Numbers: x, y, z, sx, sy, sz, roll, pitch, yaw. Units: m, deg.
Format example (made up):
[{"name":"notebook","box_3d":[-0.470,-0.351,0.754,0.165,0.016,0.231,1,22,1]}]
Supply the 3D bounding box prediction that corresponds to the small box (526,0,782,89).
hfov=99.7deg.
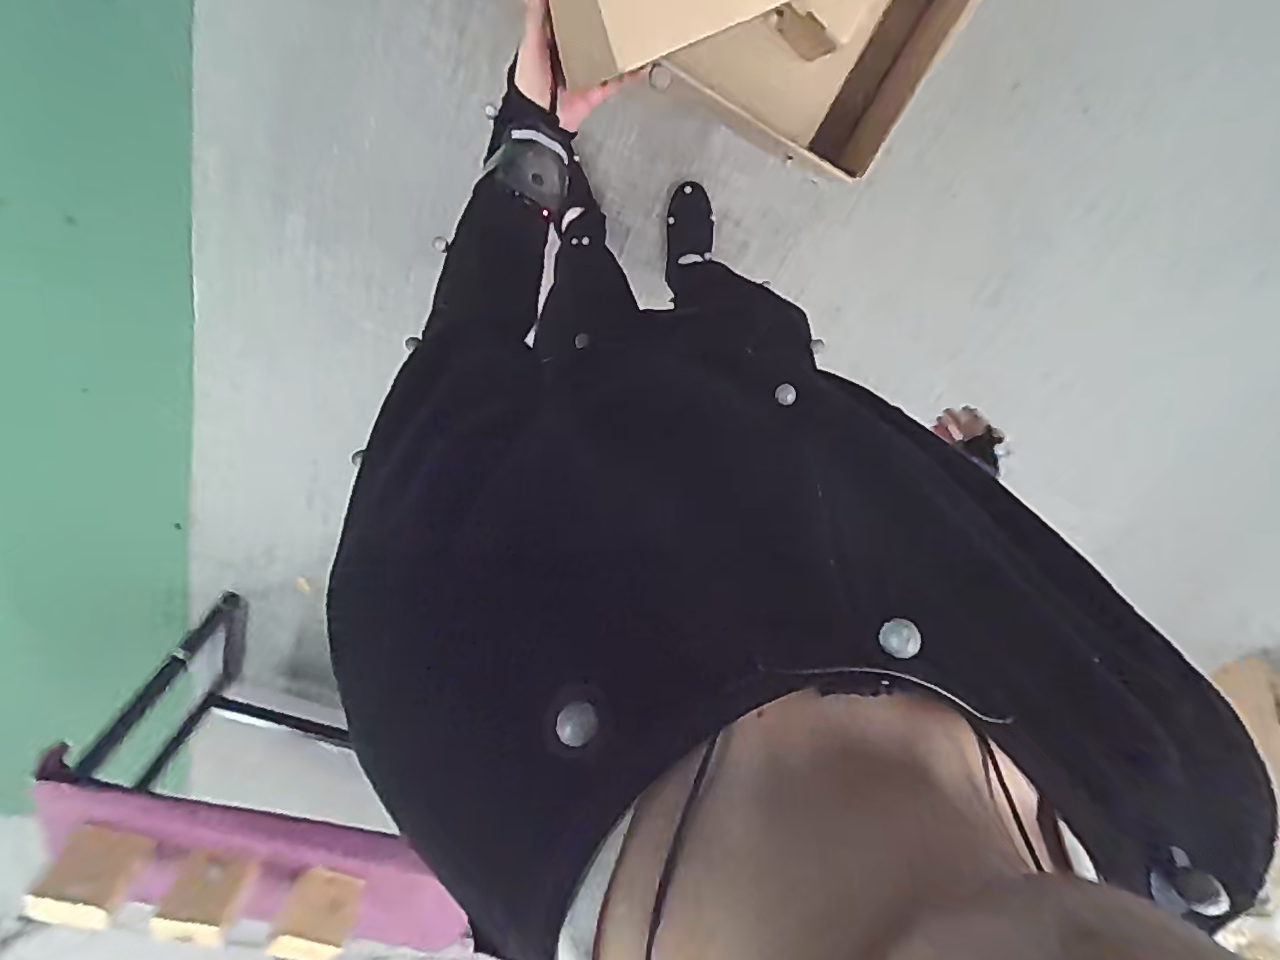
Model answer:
[{"name":"small box","box_3d":[0.002,-0.386,0.353,0.176,0.179,0.168,-25,127,-3]}]

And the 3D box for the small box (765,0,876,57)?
[{"name":"small box","box_3d":[0.232,-0.662,0.657,0.168,0.176,0.179,33,118,-18]}]

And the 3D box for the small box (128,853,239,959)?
[{"name":"small box","box_3d":[-1.214,1.144,1.451,0.168,0.176,0.179,20,120,-12]}]

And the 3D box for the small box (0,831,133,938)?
[{"name":"small box","box_3d":[-1.446,1.024,1.373,0.179,0.176,0.168,24,120,-15]}]

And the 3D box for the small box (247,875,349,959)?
[{"name":"small box","box_3d":[-0.952,1.249,1.520,0.168,0.176,0.179,35,117,-20]}]
